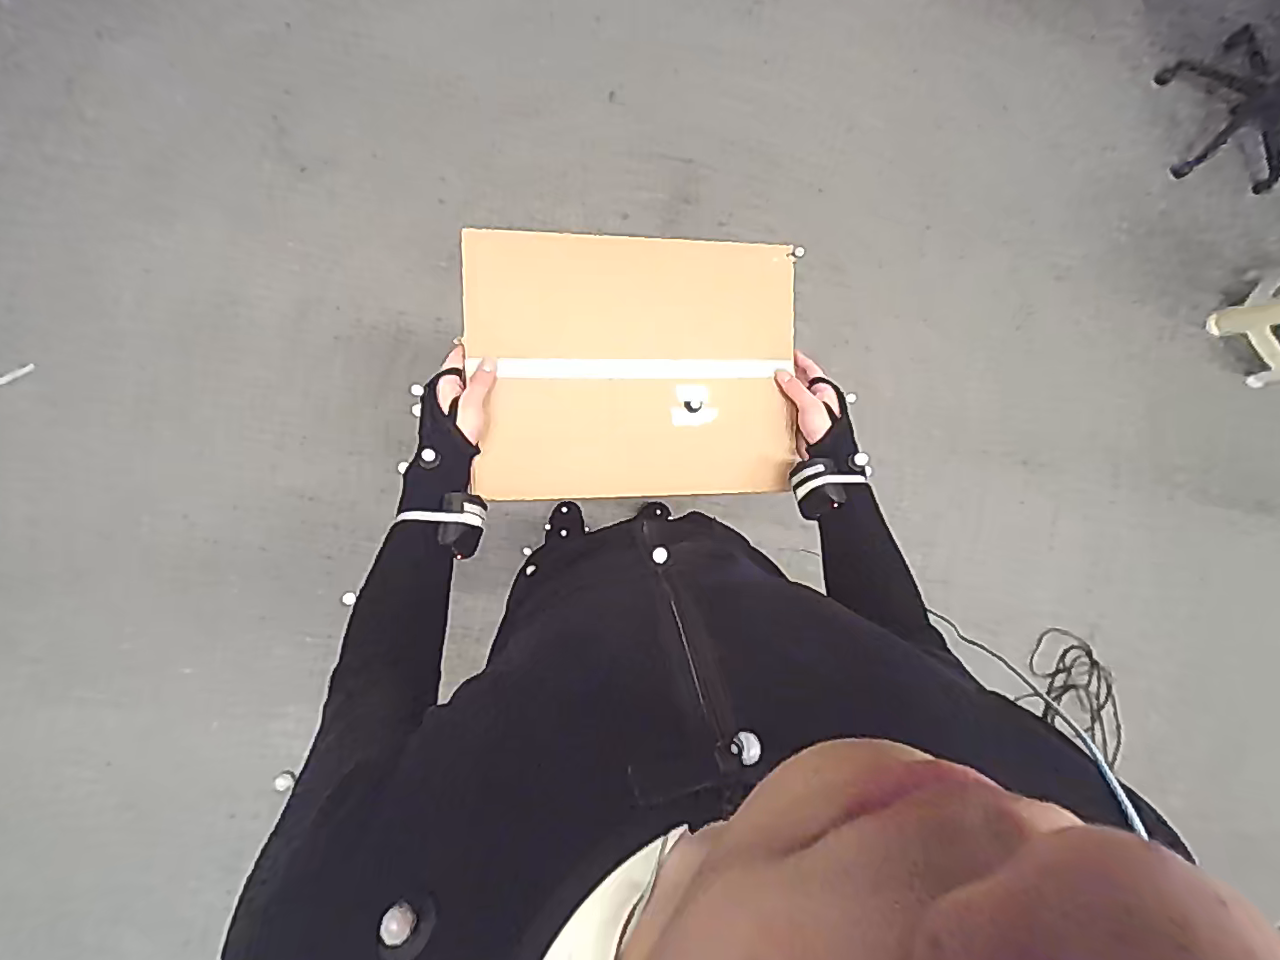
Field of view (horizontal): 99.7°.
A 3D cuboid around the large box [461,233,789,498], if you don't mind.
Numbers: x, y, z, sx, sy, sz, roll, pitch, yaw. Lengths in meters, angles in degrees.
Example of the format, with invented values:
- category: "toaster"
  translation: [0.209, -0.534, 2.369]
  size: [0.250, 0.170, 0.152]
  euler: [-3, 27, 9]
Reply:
- category: "large box"
  translation: [-0.035, -0.148, 0.812]
  size: [0.408, 0.320, 0.320]
  euler: [-3, 93, -11]
